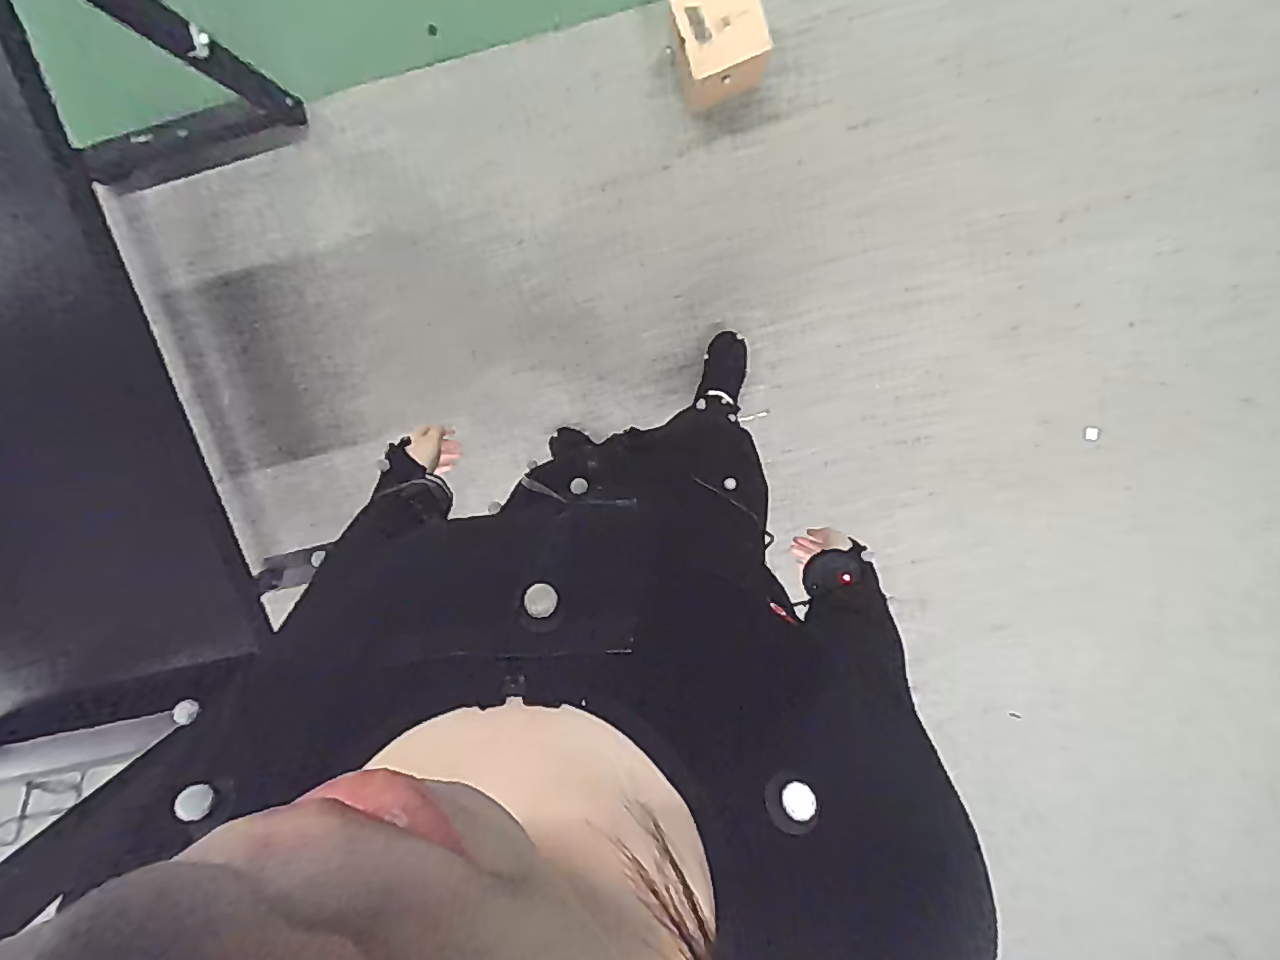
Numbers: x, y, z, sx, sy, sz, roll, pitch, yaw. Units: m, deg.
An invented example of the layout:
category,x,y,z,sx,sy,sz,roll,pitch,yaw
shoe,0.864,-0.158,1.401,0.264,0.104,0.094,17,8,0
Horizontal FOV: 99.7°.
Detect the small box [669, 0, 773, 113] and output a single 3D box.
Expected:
category,x,y,z,sx,sy,sz,roll,pitch,yaw
small box,0.170,-0.948,1.183,0.179,0.176,0.168,-19,102,6
